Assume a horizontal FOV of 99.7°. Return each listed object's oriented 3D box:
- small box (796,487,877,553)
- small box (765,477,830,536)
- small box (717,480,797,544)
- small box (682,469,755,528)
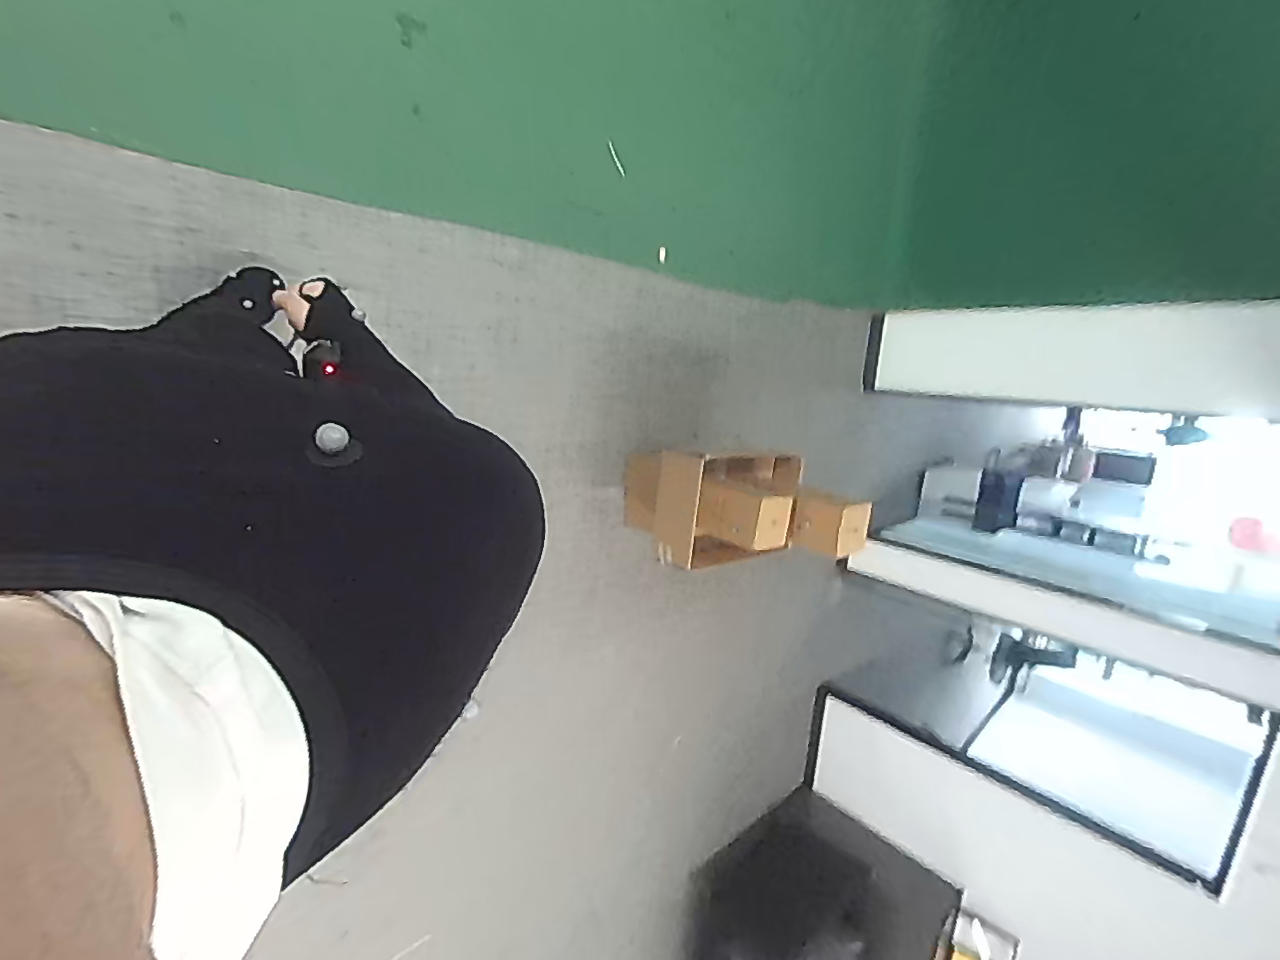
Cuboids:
[{"bbox_3d":[0.637,0.124,1.762,0.179,0.176,0.168,-4,105,-39],"label":"small box"},{"bbox_3d":[0.544,0.088,1.894,0.179,0.176,0.168,-2,104,-39],"label":"small box"},{"bbox_3d":[0.371,0.099,1.733,0.179,0.176,0.168,0,103,-44],"label":"small box"},{"bbox_3d":[0.266,0.060,1.851,0.179,0.176,0.168,-3,104,-43],"label":"small box"}]
